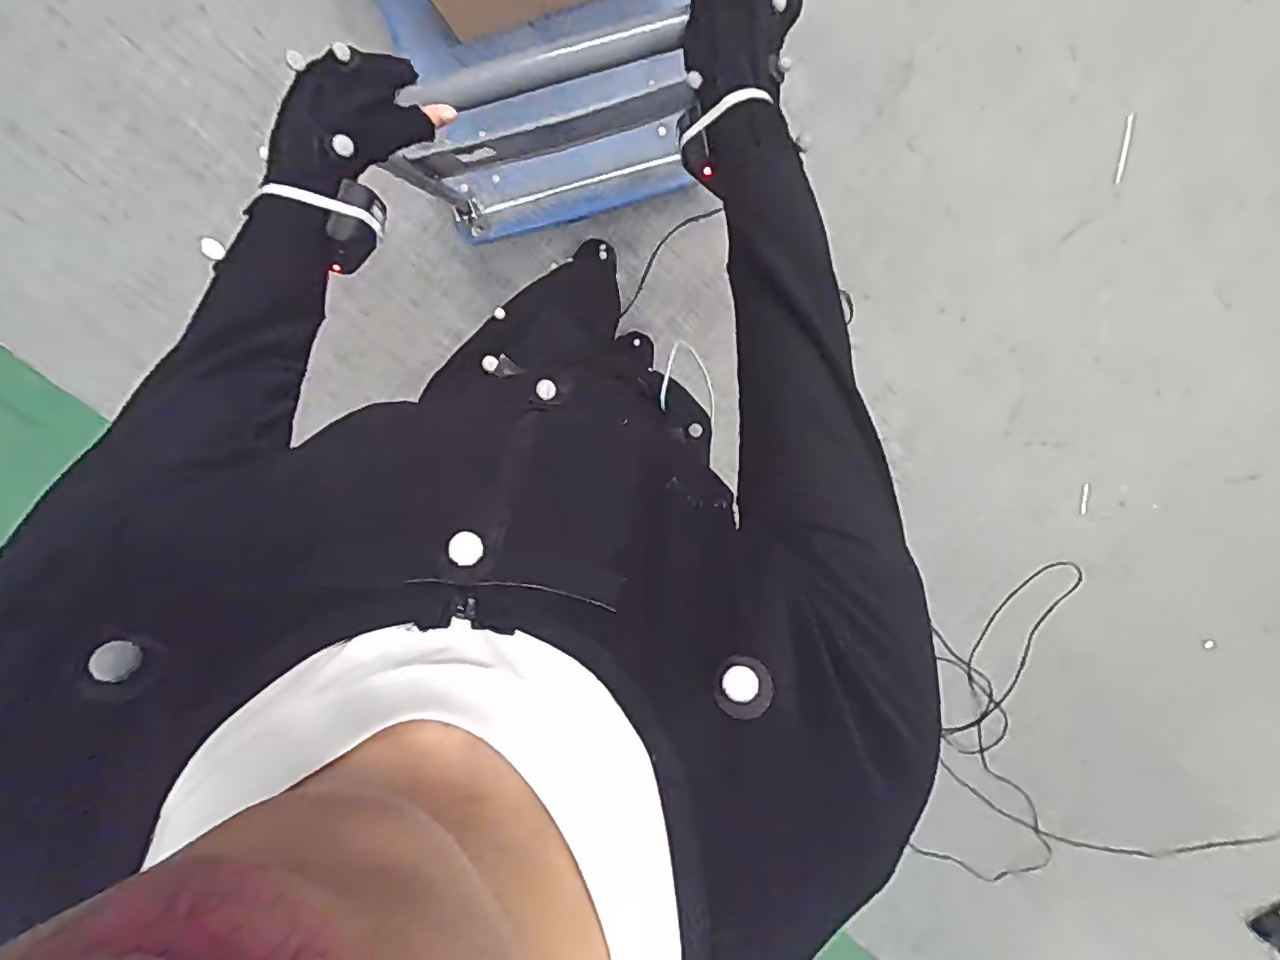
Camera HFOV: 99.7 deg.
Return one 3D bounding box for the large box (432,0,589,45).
[{"bbox_3d":[-0.187,-0.972,0.835,0.408,0.320,0.320,-16,108,5],"label":"large box"}]
